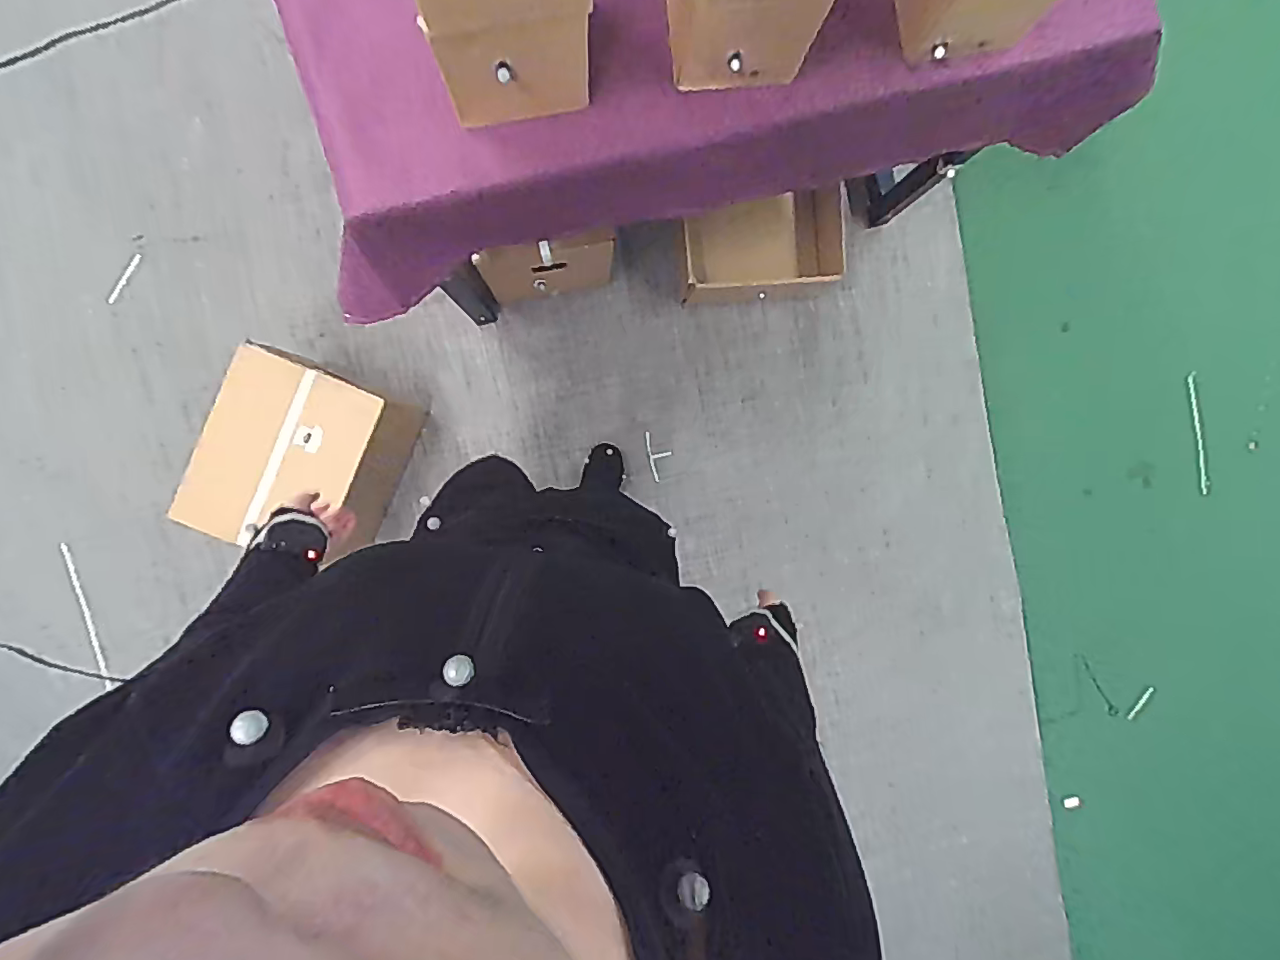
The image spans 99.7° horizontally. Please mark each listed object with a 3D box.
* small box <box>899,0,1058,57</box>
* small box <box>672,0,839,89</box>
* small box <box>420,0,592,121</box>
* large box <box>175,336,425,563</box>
[{"bbox_3d":[0.448,-0.681,0.686,0.168,0.176,0.179,-11,94,-4],"label":"small box"},{"bbox_3d":[0.132,-0.626,0.664,0.168,0.176,0.179,-7,95,-4],"label":"small box"},{"bbox_3d":[-0.157,-0.562,0.641,0.179,0.176,0.168,-11,95,-3],"label":"small box"},{"bbox_3d":[-0.770,-0.065,1.284,0.320,0.320,0.408,23,90,-7],"label":"large box"}]
